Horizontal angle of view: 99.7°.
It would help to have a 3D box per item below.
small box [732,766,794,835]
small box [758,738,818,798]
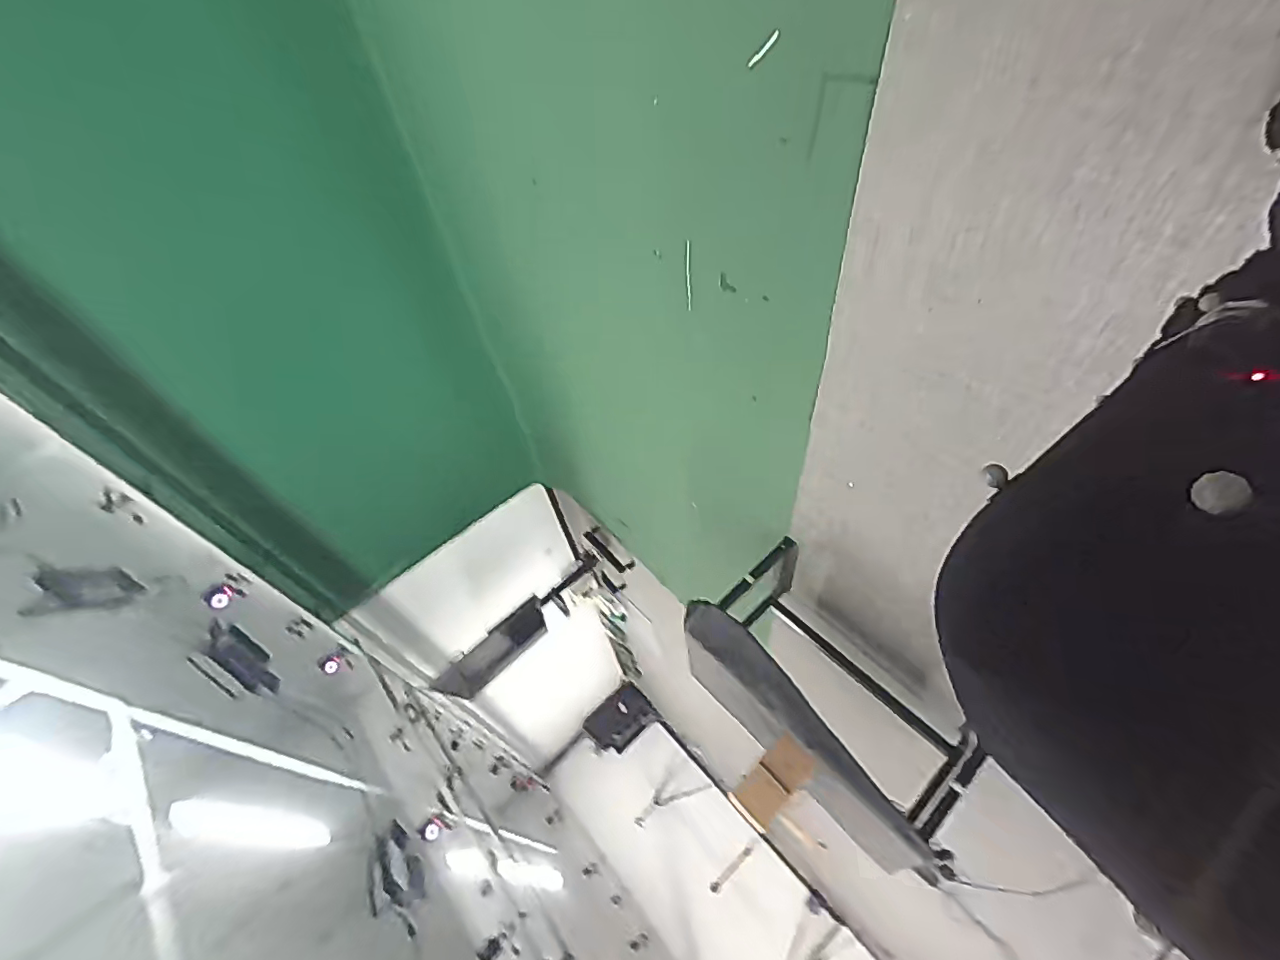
[{"bbox_3d":[0.495,1.291,2.191,0.179,0.176,0.168,39,155,32],"label":"small box"},{"bbox_3d":[0.615,1.211,2.263,0.179,0.176,0.168,39,156,32],"label":"small box"}]
